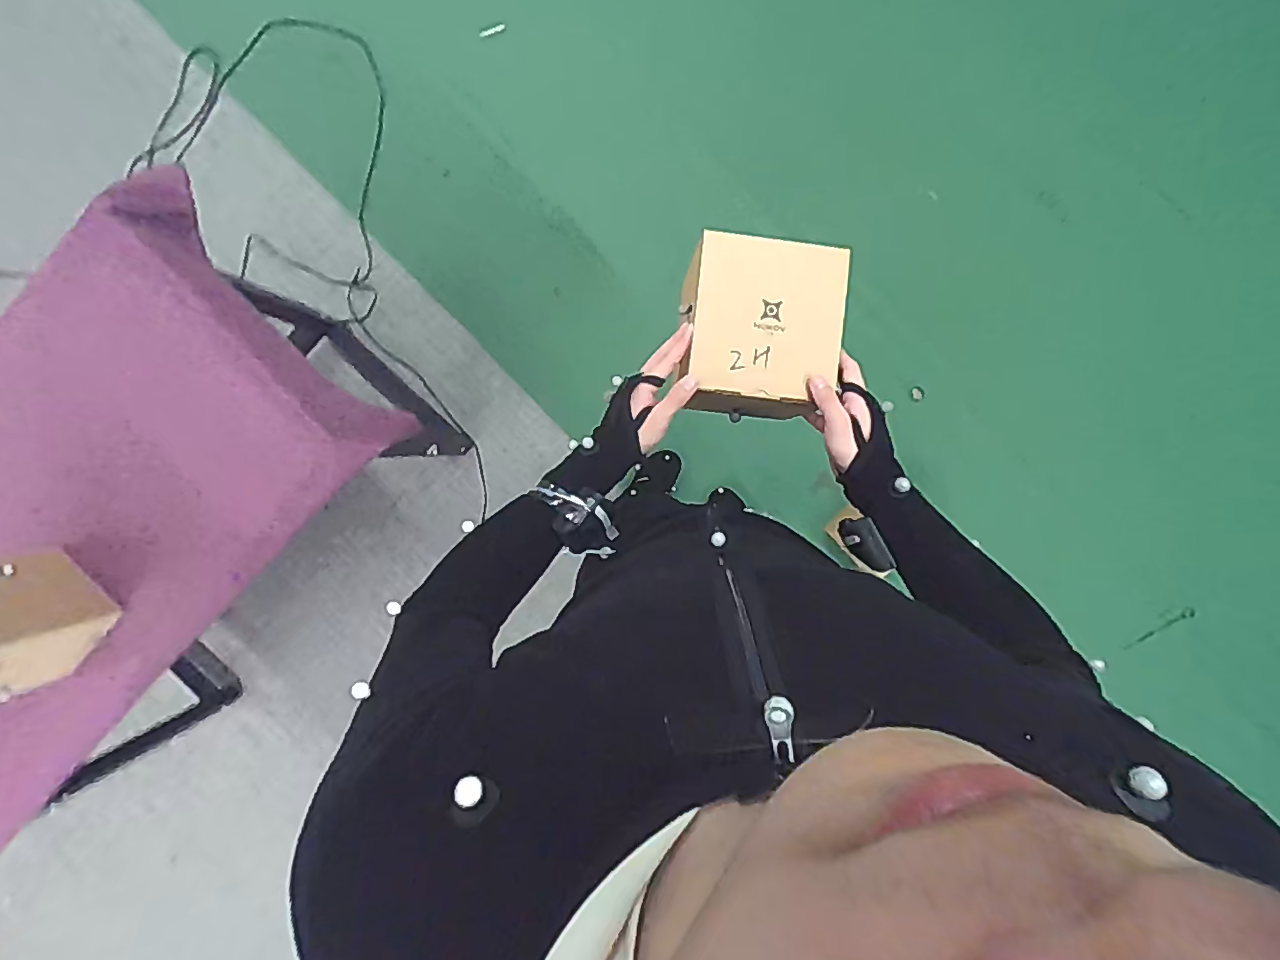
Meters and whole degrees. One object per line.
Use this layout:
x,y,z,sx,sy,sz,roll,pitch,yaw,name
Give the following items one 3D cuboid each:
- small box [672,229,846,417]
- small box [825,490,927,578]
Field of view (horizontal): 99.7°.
0.133,-0.180,0.669,0.168,0.176,0.179,5,91,-3,small box
0.659,0.145,1.536,0.179,0.176,0.168,-43,90,5,small box
